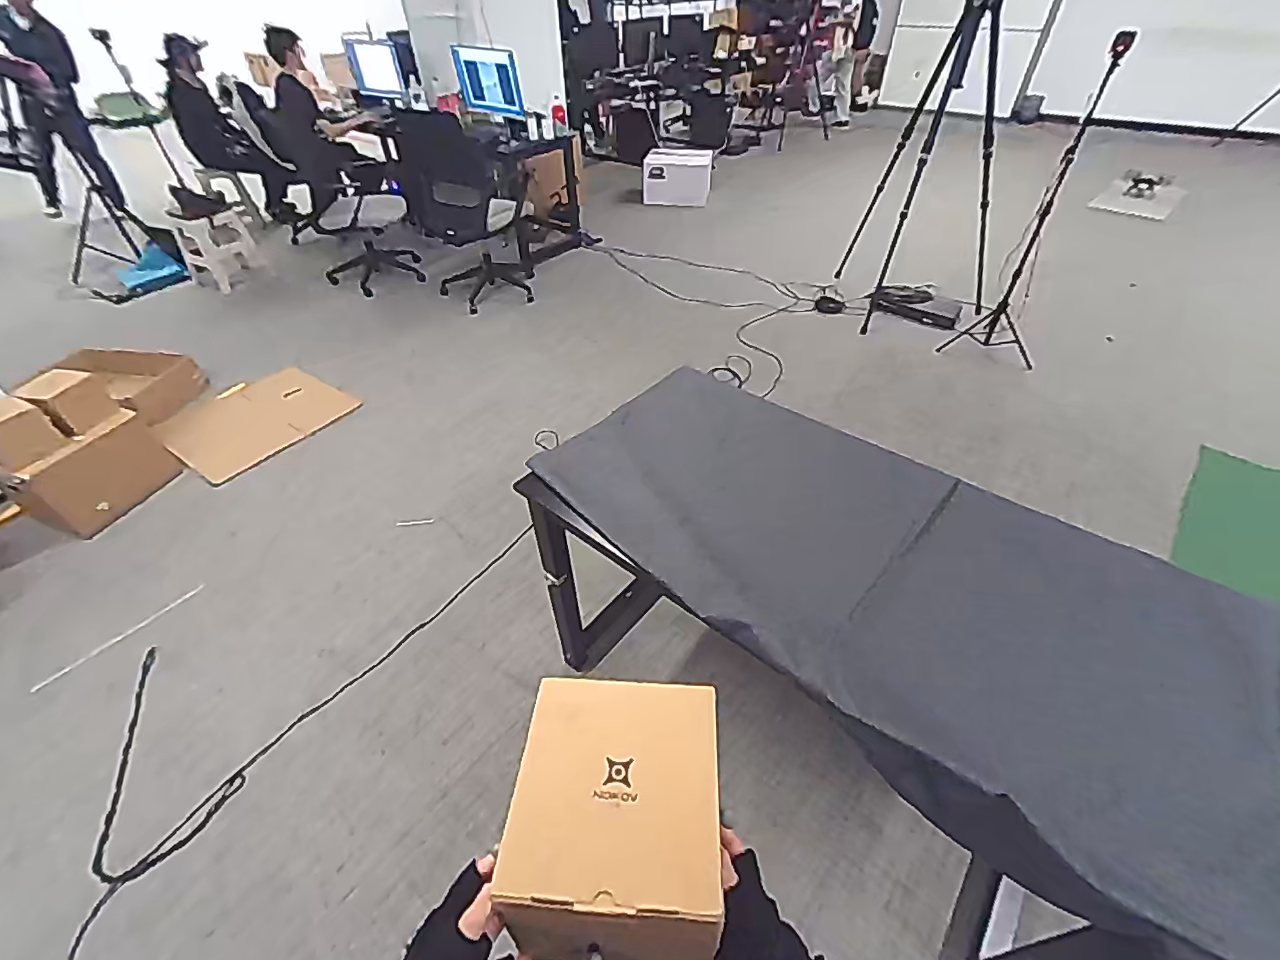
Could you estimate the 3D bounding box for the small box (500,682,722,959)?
[{"bbox_3d":[-0.016,0.316,0.502,0.168,0.176,0.179,2,39,4],"label":"small box"}]
